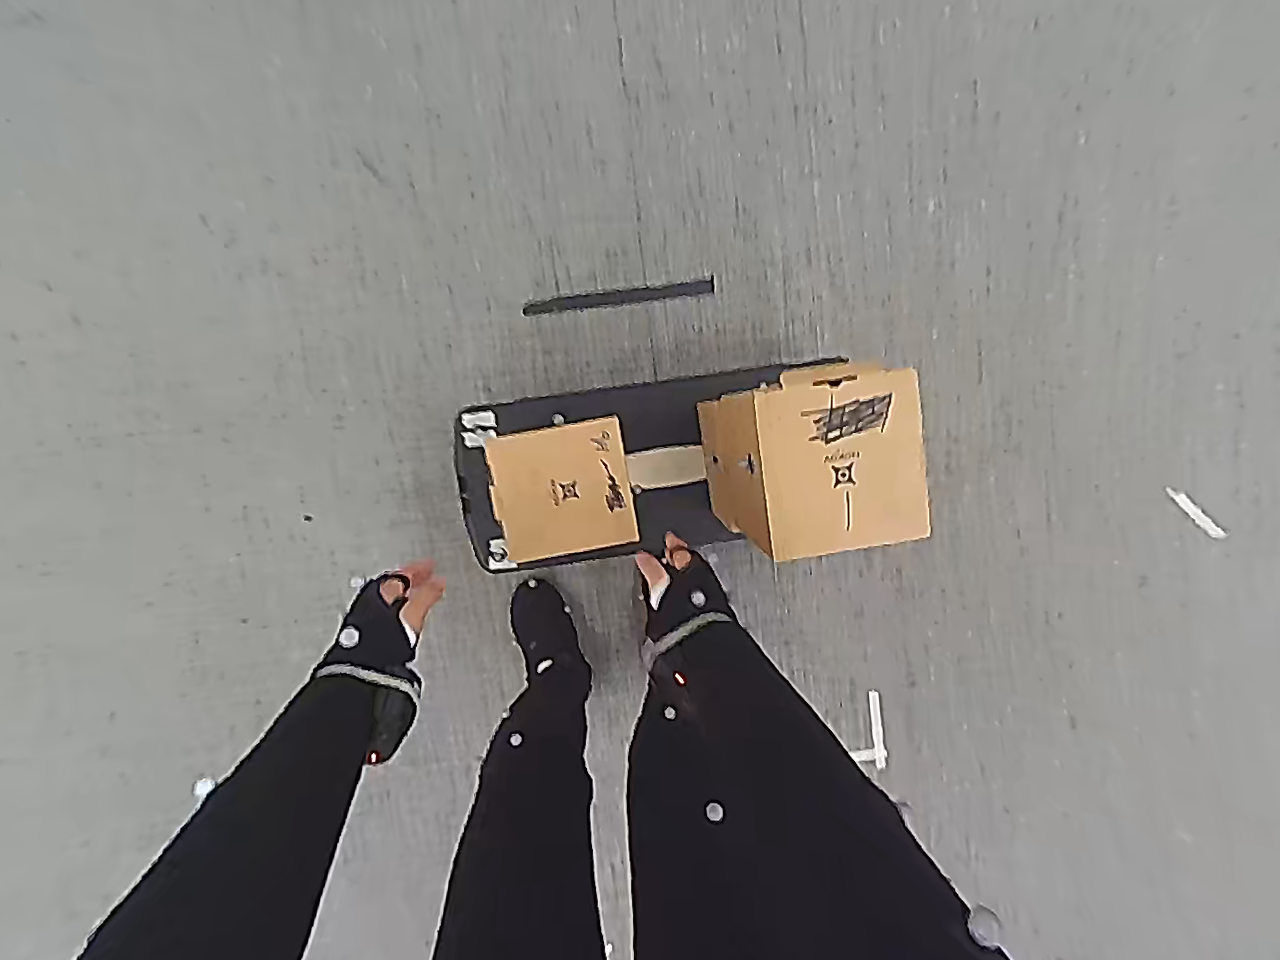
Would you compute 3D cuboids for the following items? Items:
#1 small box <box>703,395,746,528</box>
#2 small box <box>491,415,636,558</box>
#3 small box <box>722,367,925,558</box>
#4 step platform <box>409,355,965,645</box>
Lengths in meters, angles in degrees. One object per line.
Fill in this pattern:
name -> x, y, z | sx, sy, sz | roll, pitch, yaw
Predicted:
small box -> 0.183, -0.041, 0.787 | 0.168, 0.176, 0.179 | -9, 98, -1
small box -> -0.104, 0.002, 0.782 | 0.179, 0.176, 0.168 | -10, 97, -1
small box -> 0.198, -0.026, 0.624 | 0.168, 0.176, 0.179 | -9, 98, -1
step platform -> 0.060, 0.018, 0.754 | 0.684, 0.204, 0.286 | -8, 97, -2
